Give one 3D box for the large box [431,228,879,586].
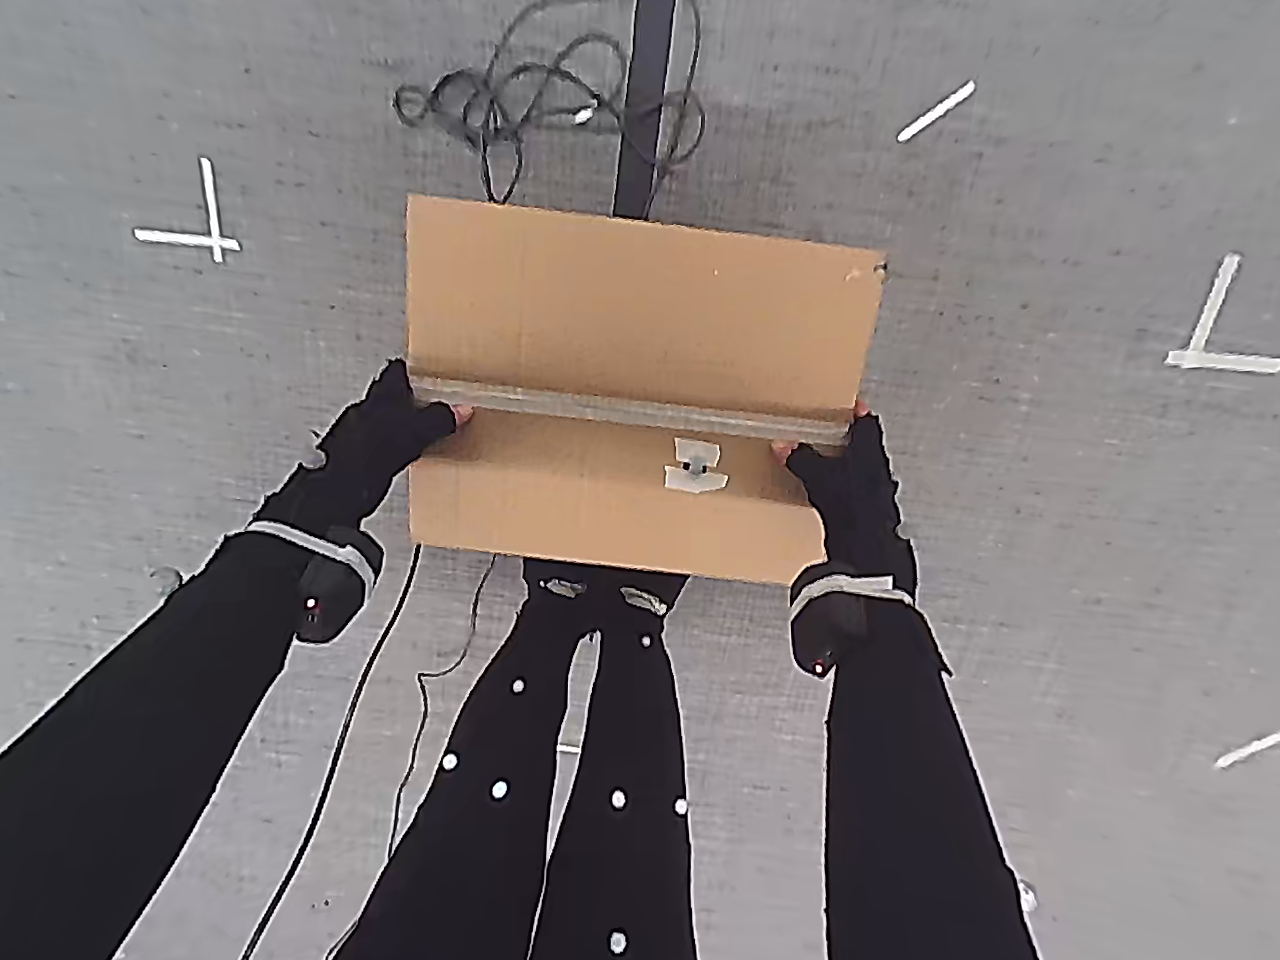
[{"bbox_3d":[0.000,-0.094,0.656,0.408,0.320,0.320,6,107,-1],"label":"large box"}]
